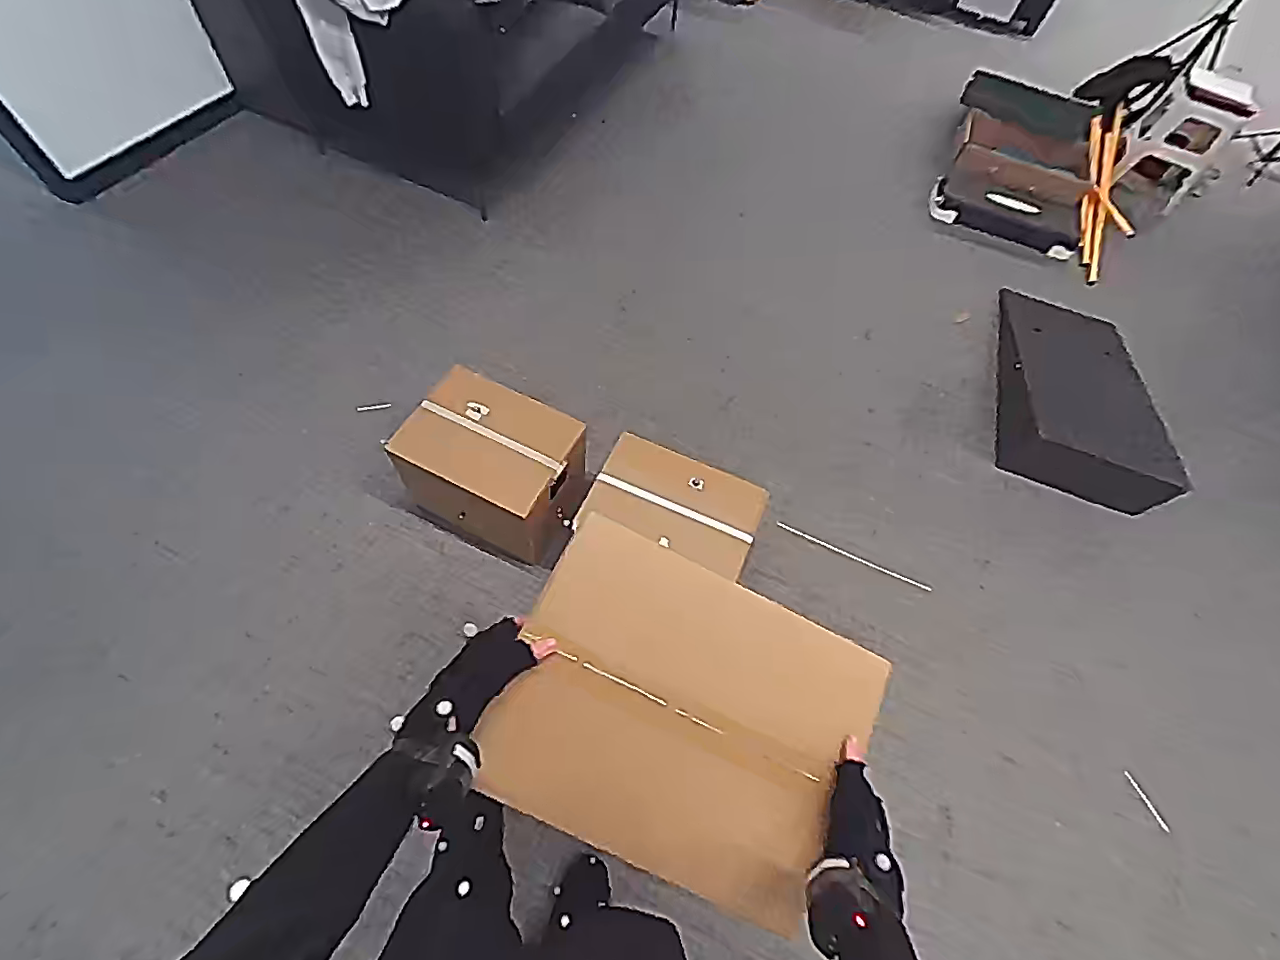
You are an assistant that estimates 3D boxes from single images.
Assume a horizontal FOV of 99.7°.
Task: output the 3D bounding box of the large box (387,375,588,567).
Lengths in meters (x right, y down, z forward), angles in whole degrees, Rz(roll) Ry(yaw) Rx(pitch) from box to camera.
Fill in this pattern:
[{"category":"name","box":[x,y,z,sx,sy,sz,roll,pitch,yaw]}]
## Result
[{"category":"large box","box":[-0.385,-0.017,1.485,0.408,0.320,0.320,24,60,9]}]
